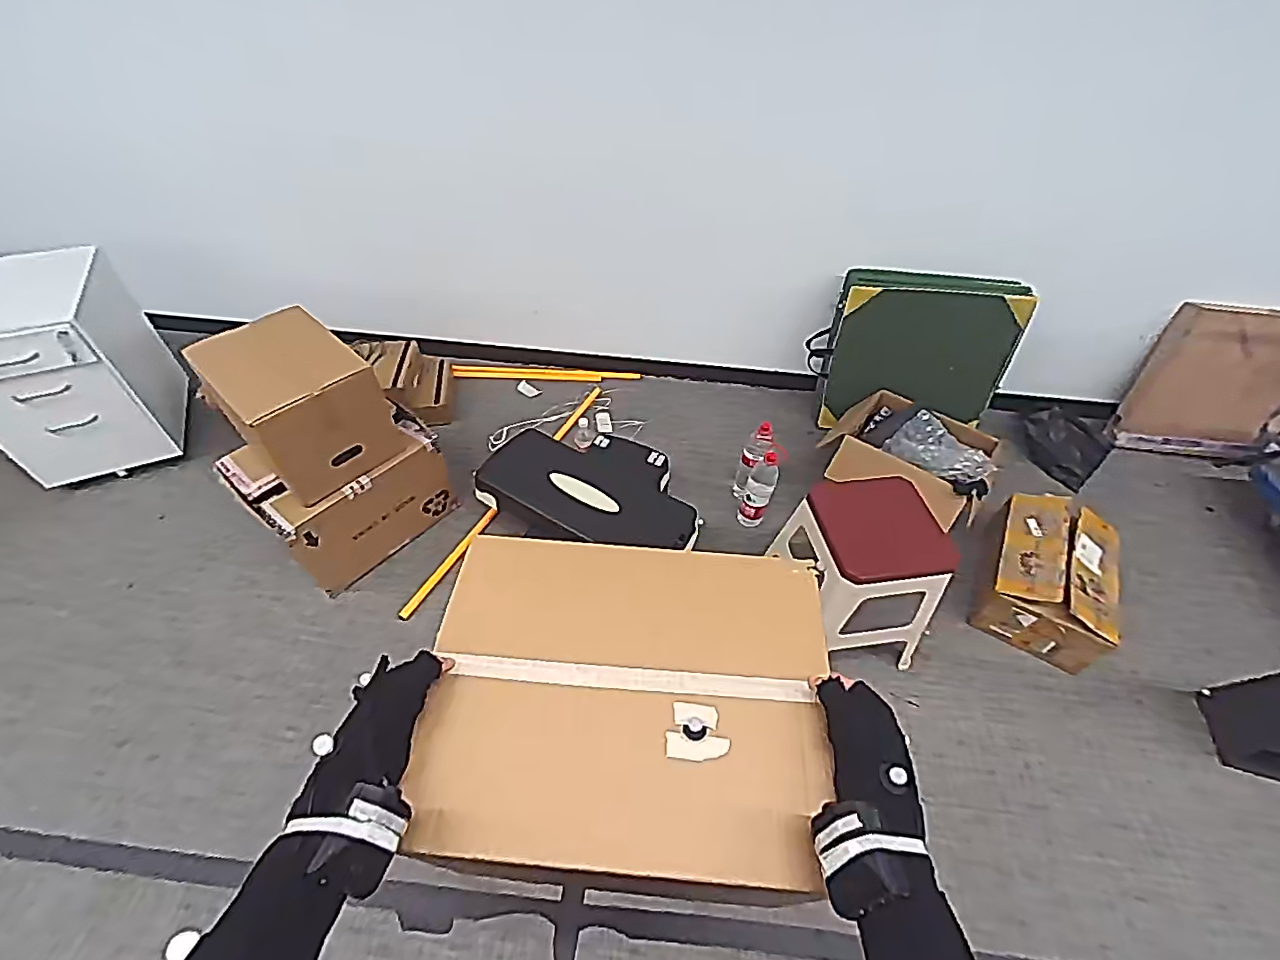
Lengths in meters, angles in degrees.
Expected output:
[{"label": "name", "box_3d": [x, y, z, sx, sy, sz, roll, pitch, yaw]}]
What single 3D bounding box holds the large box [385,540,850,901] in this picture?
[{"label": "large box", "box_3d": [-0.016, 0.297, 0.660, 0.408, 0.320, 0.320, 5, 50, 2]}]
